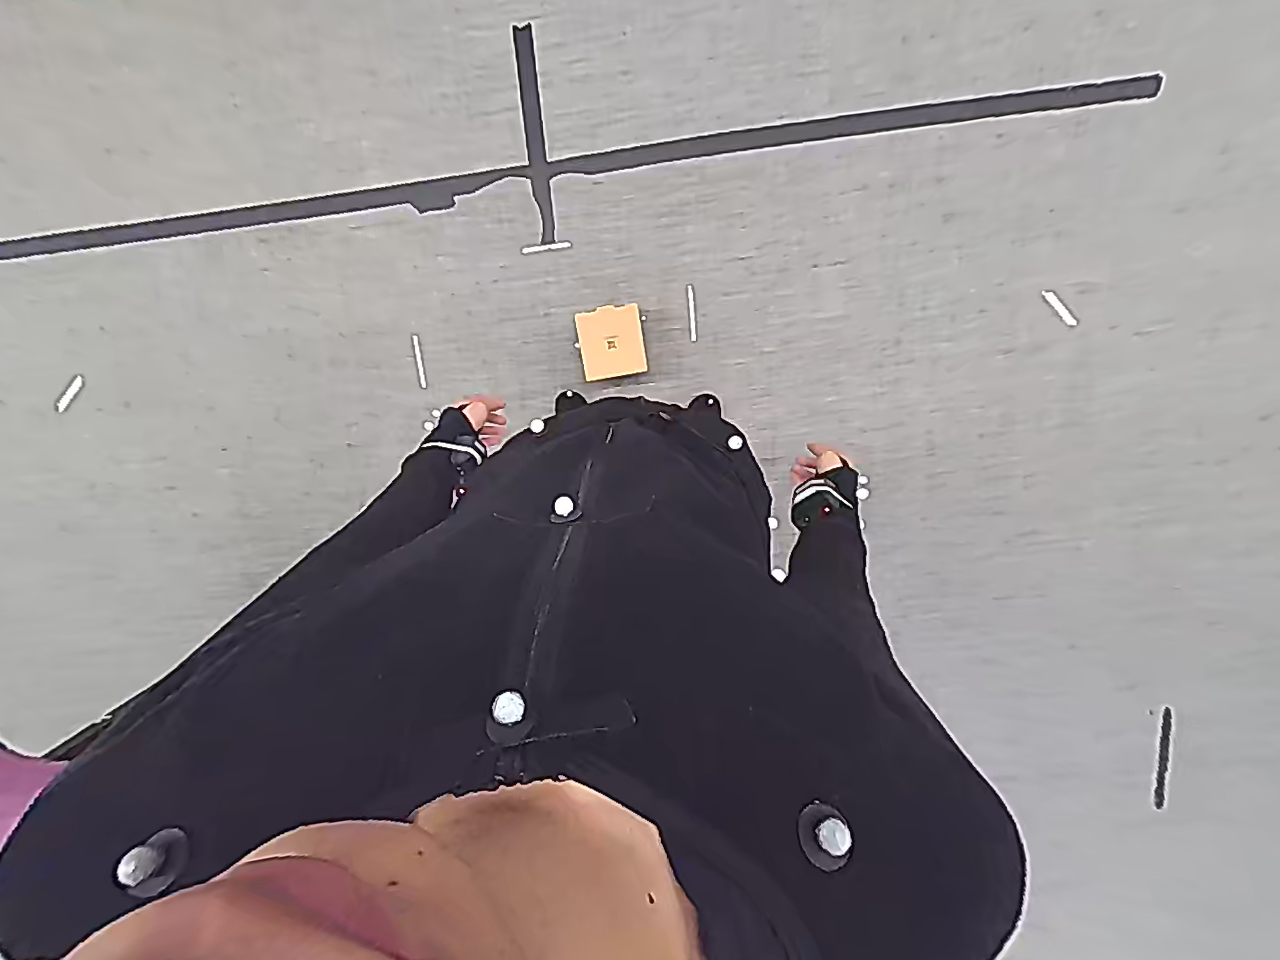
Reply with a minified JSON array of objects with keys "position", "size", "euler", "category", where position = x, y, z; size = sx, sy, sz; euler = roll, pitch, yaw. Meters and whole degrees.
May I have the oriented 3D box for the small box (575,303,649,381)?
[{"position":[-0.069,-0.373,1.465],"size":[0.168,0.176,0.179],"euler":[-9,102,4],"category":"small box"}]
